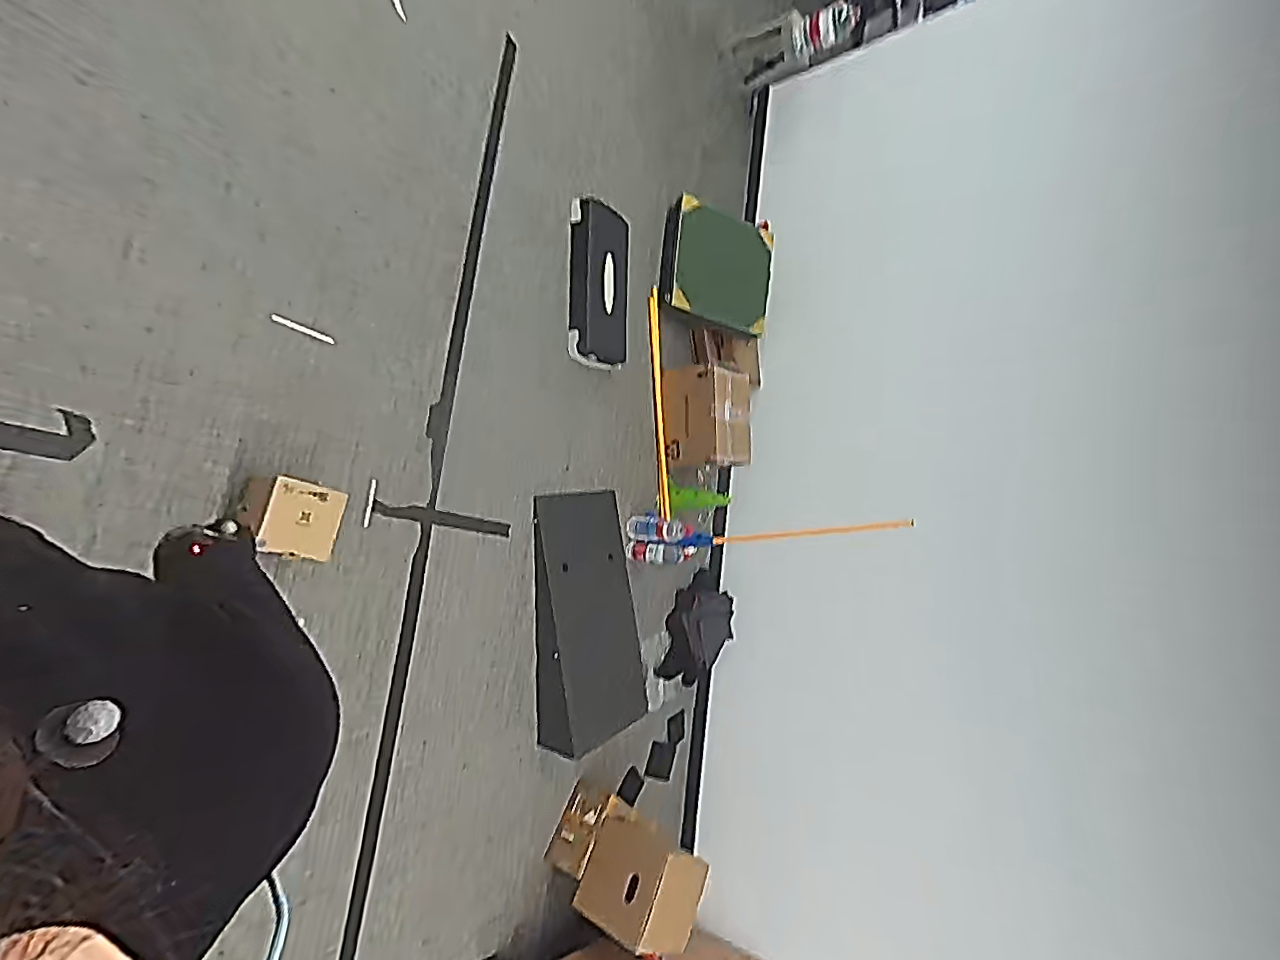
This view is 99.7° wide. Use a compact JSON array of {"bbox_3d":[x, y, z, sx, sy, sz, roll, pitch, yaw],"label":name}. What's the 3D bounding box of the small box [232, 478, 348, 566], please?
[{"bbox_3d":[-0.853,0.101,1.313,0.168,0.176,0.179,29,69,-51],"label":"small box"}]
